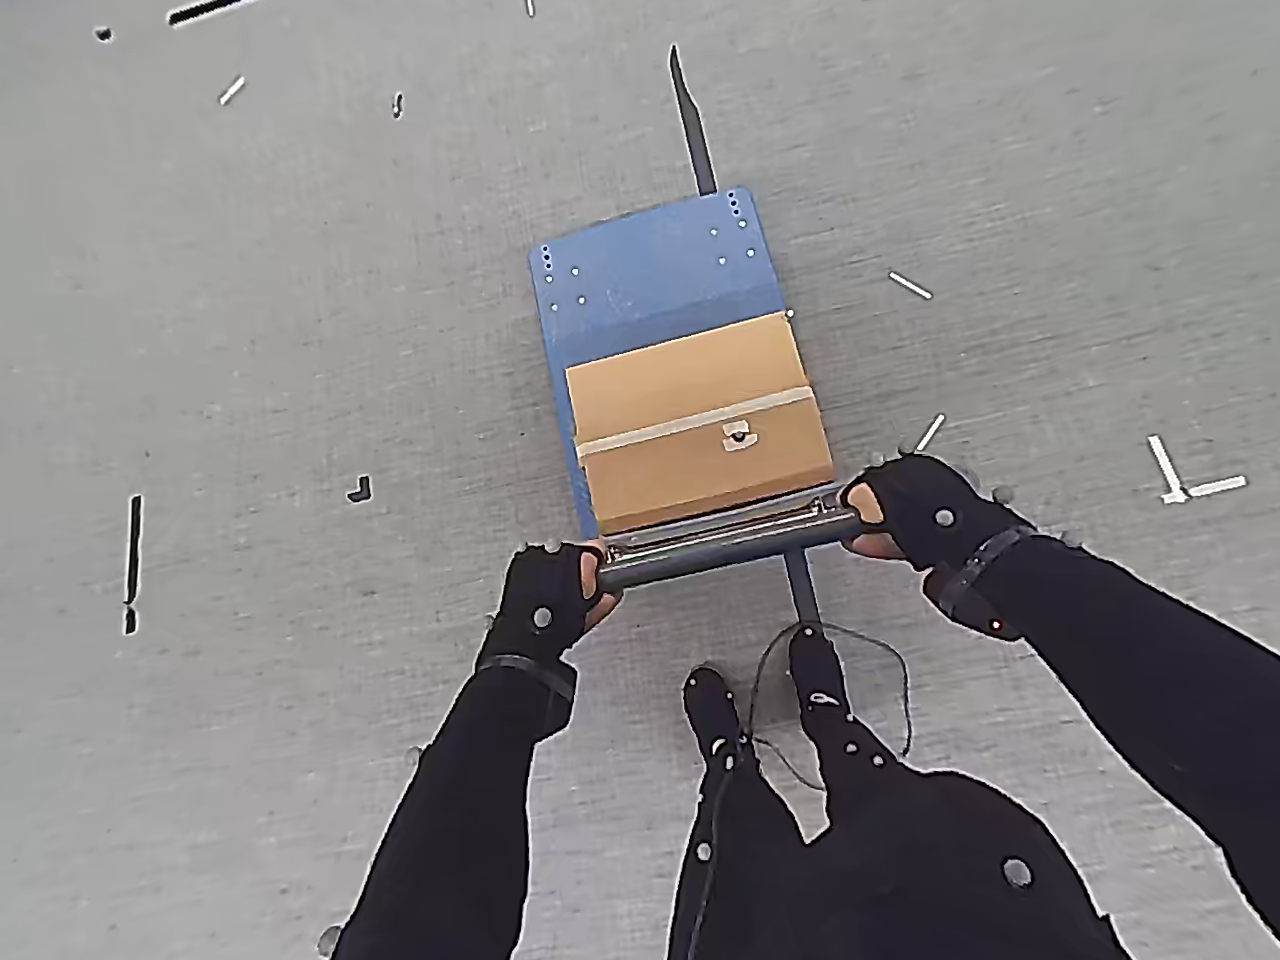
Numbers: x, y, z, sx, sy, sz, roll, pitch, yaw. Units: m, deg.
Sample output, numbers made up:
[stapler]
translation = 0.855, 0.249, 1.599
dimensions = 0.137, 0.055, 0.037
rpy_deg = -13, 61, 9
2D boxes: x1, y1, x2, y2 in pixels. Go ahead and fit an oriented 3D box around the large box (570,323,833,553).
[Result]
[large box]
translation = 0.113, -0.057, 1.086
dimensions = 0.408, 0.320, 0.320
rpy_deg = -14, 78, 4
